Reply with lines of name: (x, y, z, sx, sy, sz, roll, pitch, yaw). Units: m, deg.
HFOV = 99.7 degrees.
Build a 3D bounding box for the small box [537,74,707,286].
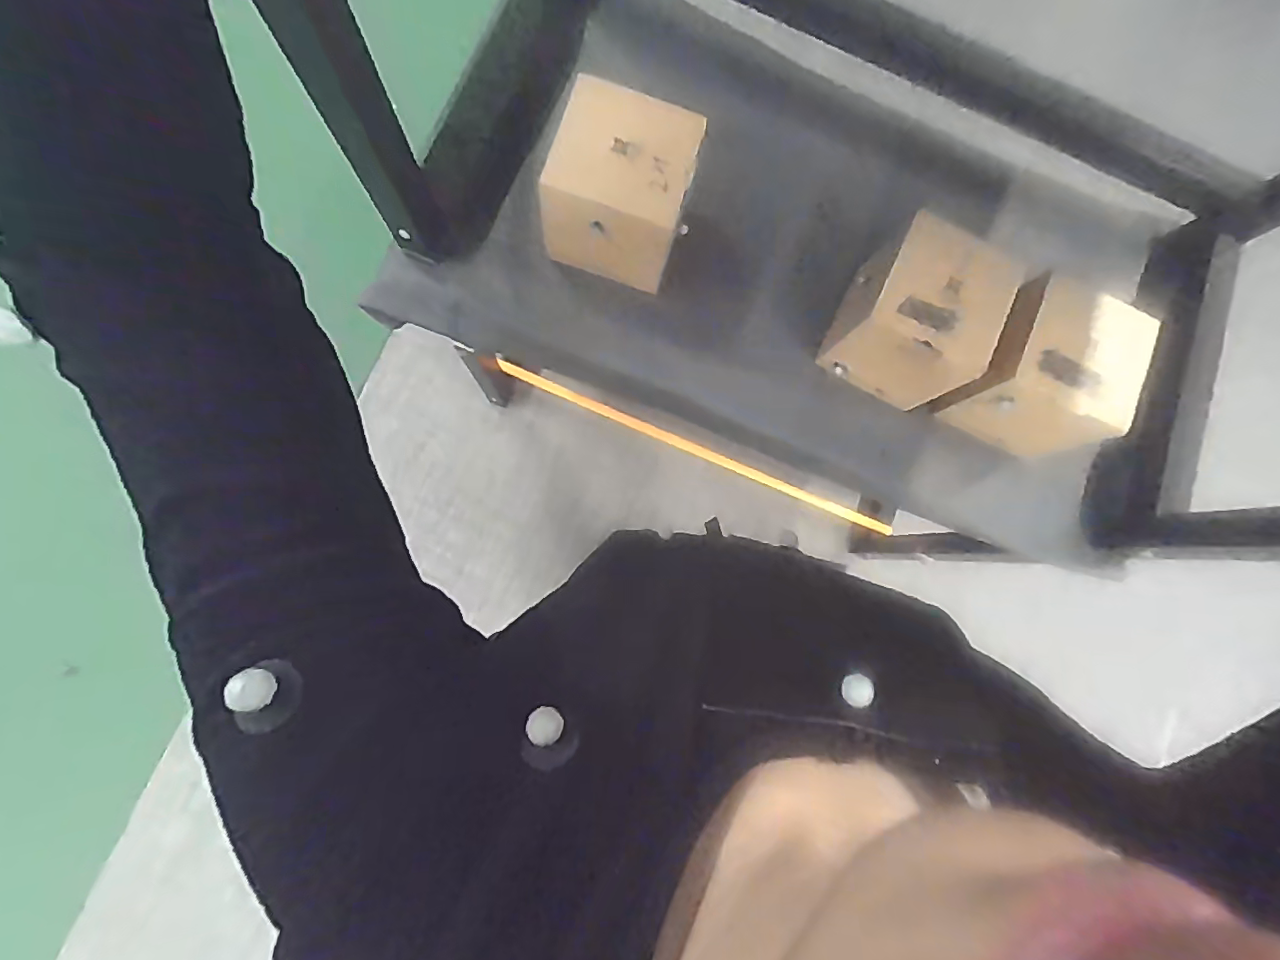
small box: (-0.028, -0.398, 0.749, 0.179, 0.176, 0.168, 18, 81, -4)
